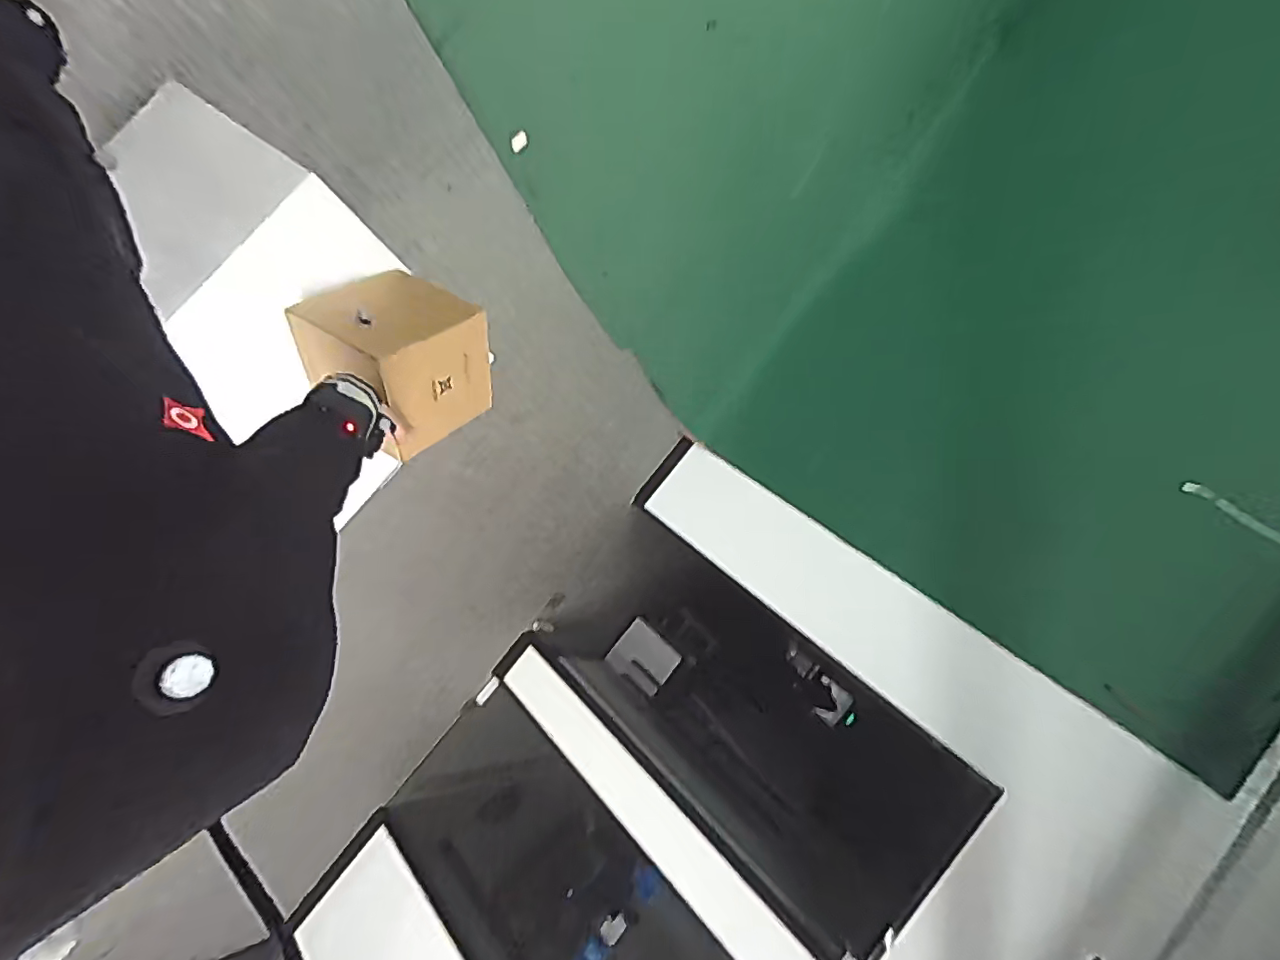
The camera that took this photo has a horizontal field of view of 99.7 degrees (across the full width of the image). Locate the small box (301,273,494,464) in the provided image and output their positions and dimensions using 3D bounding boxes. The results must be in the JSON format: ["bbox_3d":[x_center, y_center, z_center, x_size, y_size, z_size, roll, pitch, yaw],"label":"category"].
[{"bbox_3d":[-0.326,-0.158,0.741,0.179,0.176,0.168,-49,159,-41],"label":"small box"}]
